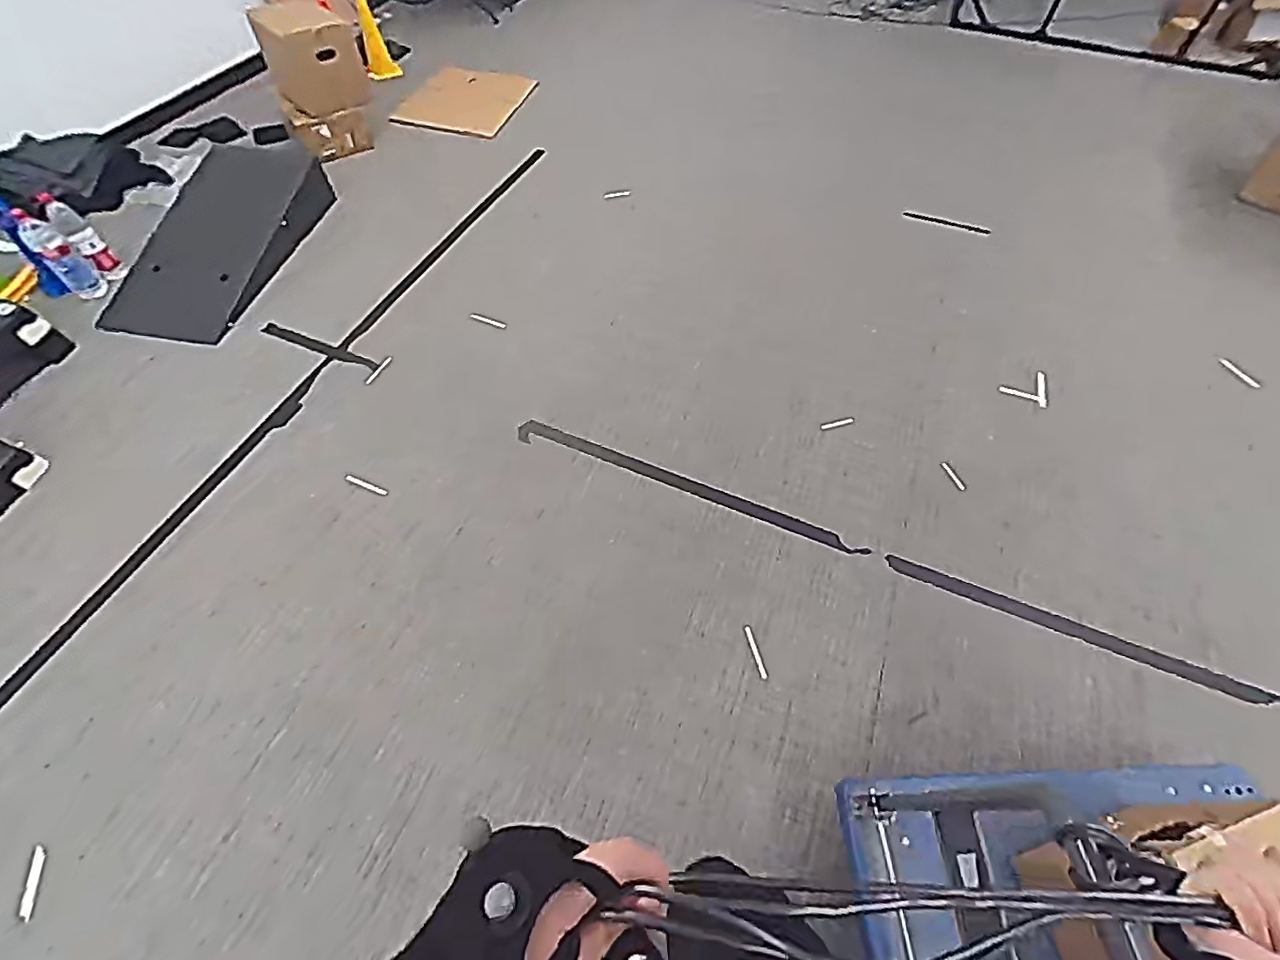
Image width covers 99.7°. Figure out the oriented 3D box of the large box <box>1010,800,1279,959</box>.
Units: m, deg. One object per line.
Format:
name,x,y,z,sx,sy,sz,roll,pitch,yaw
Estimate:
large box,0.914,0.777,0.850,0.320,0.320,0.408,-14,60,-9
